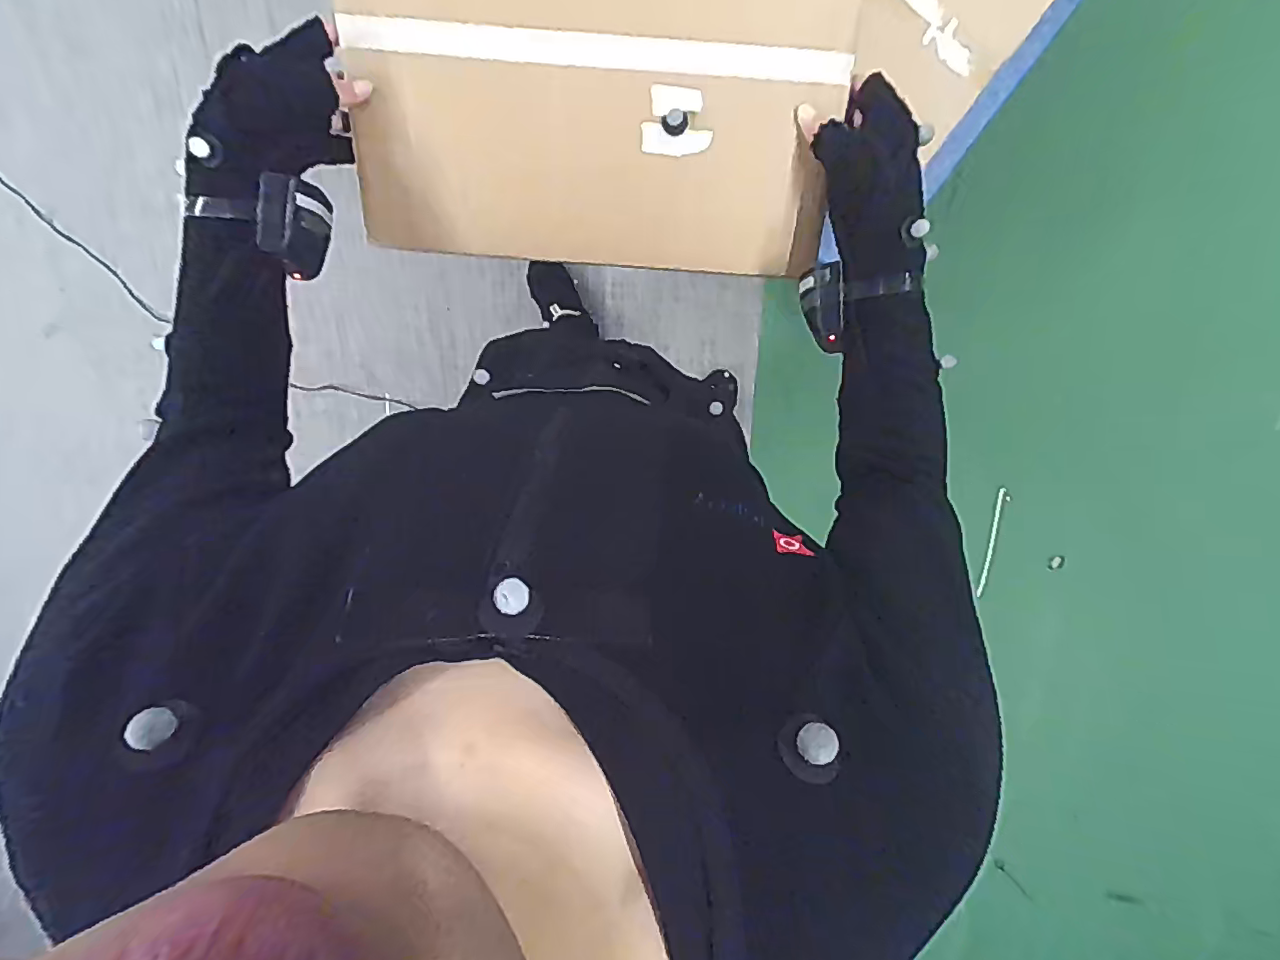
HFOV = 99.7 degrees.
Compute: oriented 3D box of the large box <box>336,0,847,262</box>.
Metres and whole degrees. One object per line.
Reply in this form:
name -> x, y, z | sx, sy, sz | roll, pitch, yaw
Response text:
large box -> -0.042, -0.405, 0.563 | 0.408, 0.320, 0.320 | 3, 114, -2
